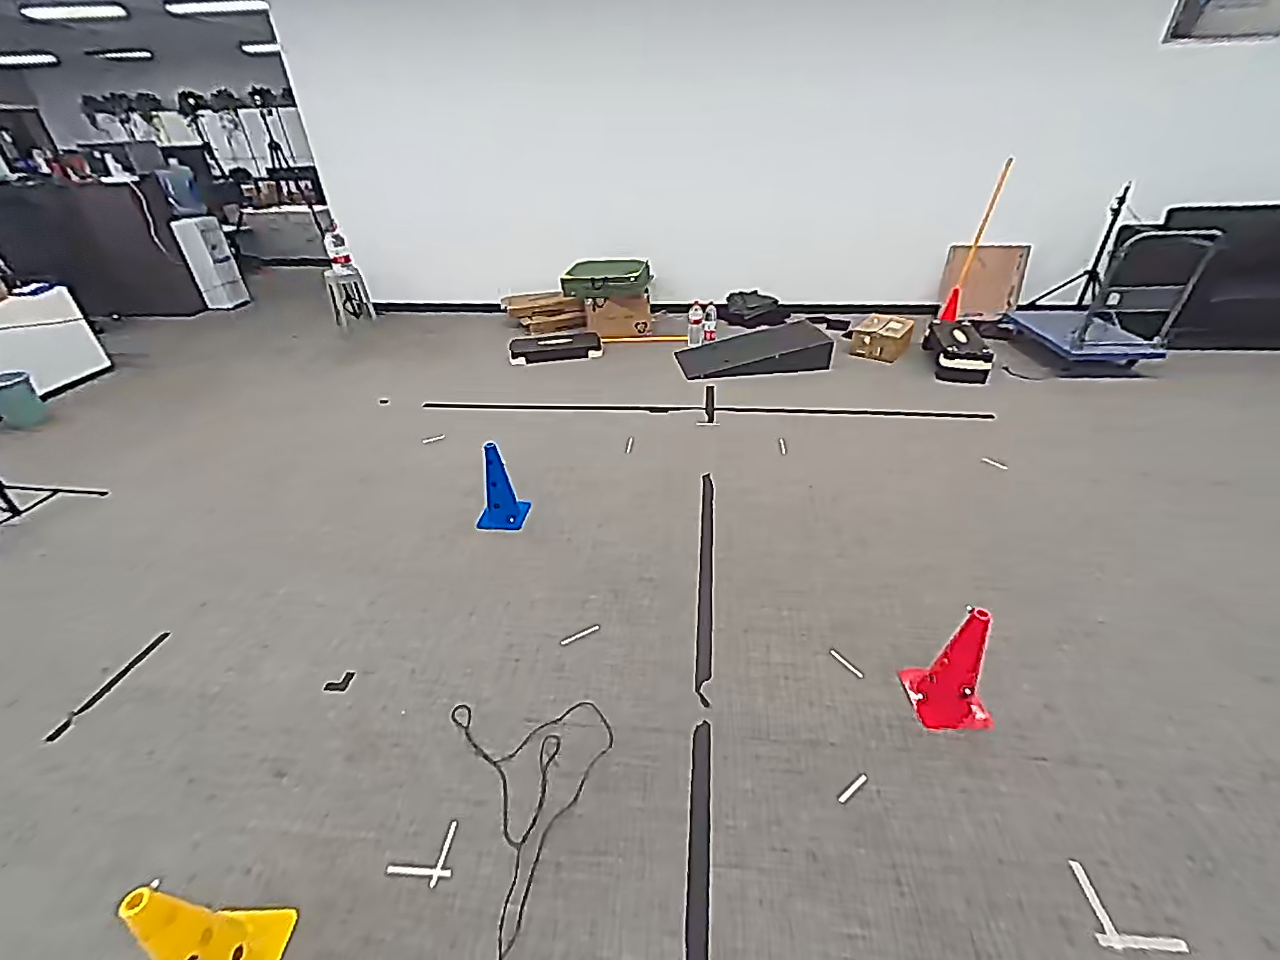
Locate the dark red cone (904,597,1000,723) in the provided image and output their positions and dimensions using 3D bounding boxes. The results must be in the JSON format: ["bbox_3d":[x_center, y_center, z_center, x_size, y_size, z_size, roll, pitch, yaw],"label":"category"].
[{"bbox_3d":[0.885,0.468,1.469,0.201,0.394,0.202,-3,33,0],"label":"dark red cone"}]

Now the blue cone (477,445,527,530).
[{"bbox_3d":[-0.611,0.021,2.283,0.192,0.380,0.193,2,33,7],"label":"blue cone"}]
